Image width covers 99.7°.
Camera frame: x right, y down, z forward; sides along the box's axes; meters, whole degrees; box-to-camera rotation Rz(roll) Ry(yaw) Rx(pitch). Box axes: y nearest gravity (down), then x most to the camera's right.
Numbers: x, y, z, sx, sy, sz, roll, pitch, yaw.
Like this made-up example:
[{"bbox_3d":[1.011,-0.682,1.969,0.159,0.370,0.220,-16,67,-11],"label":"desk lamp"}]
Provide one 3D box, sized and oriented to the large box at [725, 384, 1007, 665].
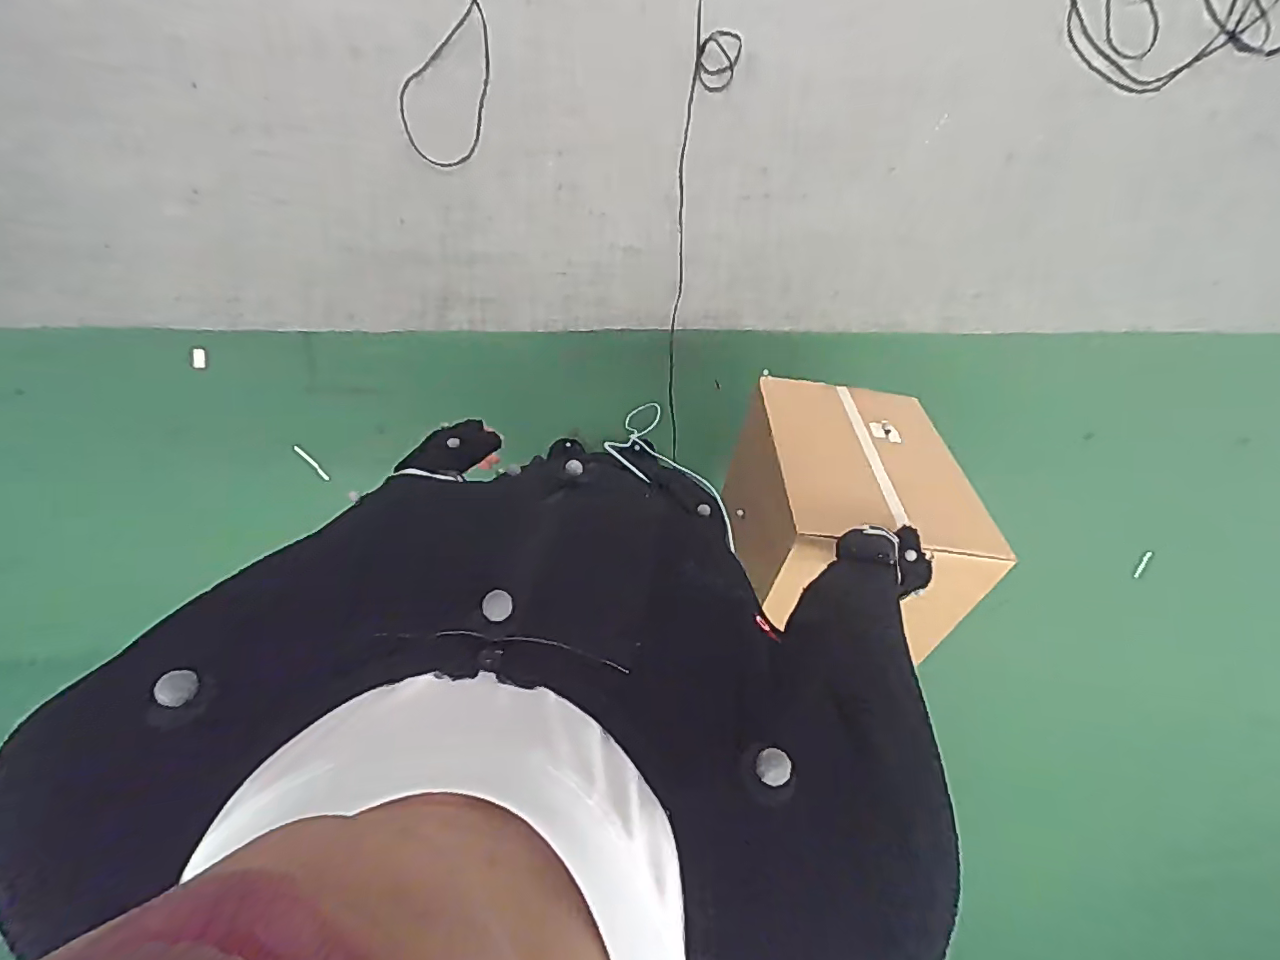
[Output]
[{"bbox_3d":[0.352,0.075,0.990,0.320,0.408,0.320,8,131,-4],"label":"large box"}]
